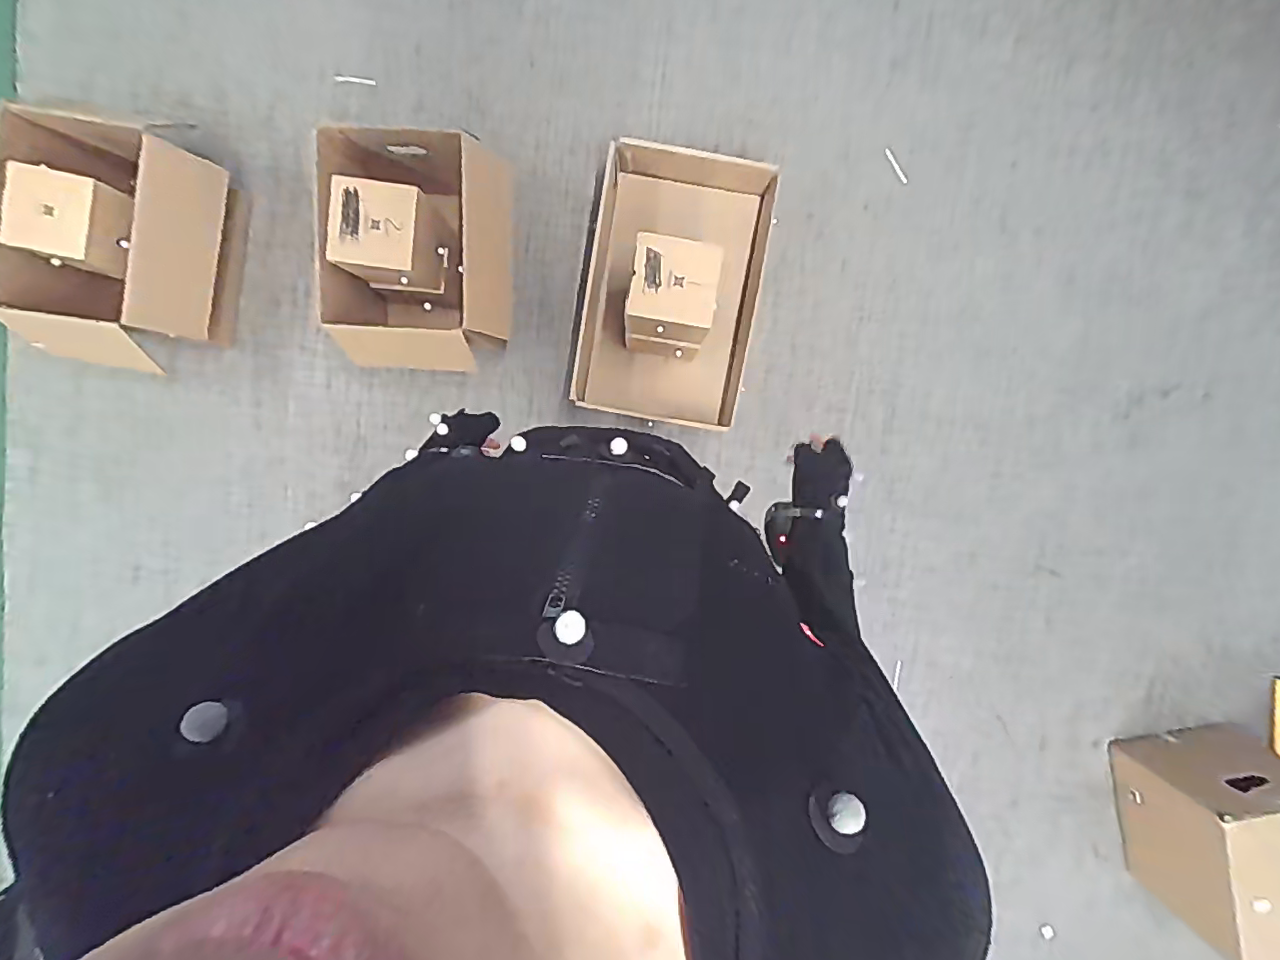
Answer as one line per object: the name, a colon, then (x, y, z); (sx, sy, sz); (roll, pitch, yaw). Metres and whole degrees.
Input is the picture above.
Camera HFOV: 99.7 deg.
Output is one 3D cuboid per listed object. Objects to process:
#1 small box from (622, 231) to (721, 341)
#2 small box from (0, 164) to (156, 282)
small box: (0.060, -0.402, 1.149); (0.179, 0.176, 0.168); (9, 93, -2)
small box: (-1.201, -0.540, 1.162); (0.179, 0.176, 0.168); (11, 94, -2)
